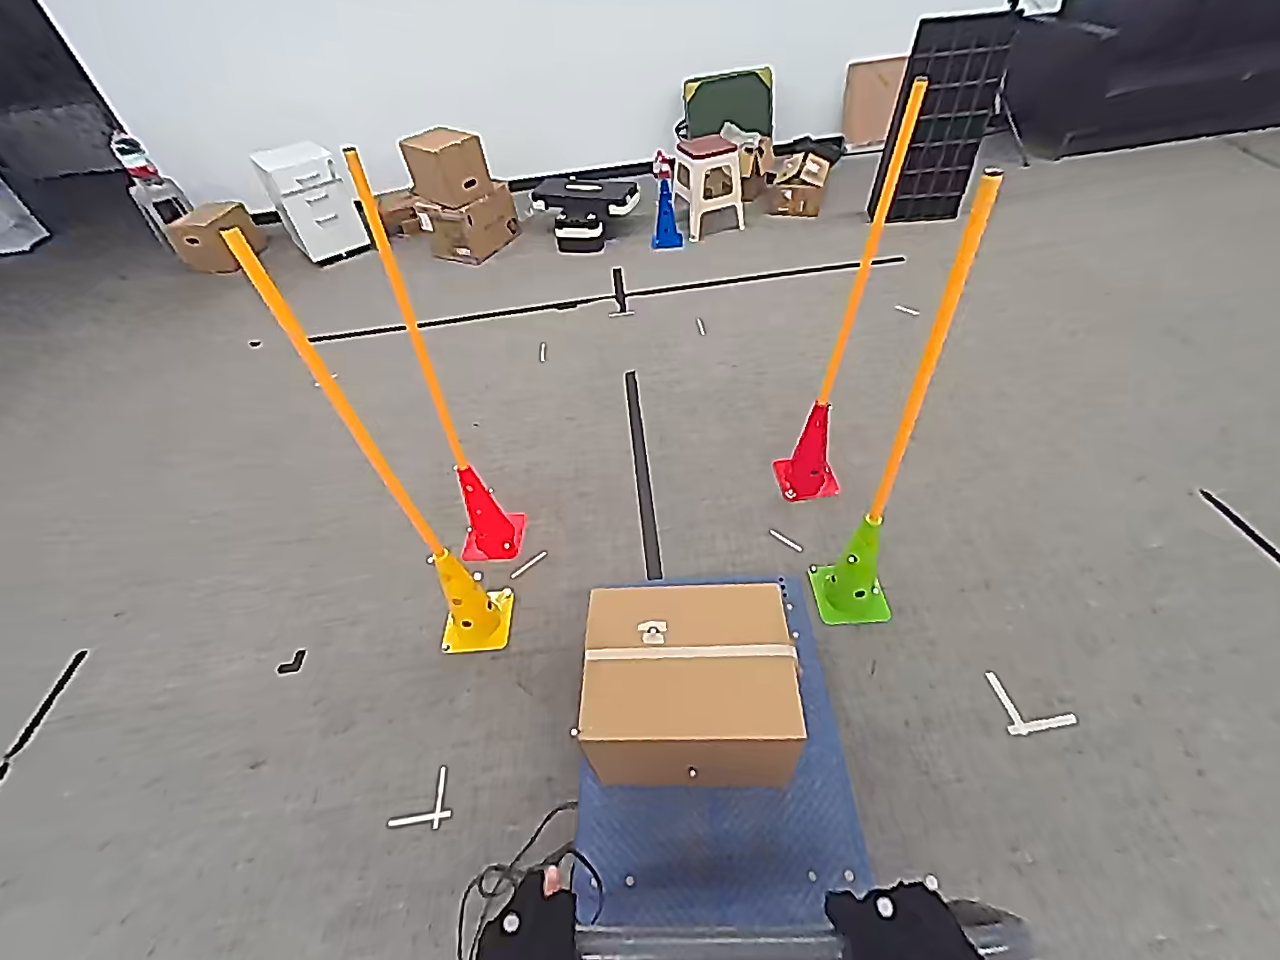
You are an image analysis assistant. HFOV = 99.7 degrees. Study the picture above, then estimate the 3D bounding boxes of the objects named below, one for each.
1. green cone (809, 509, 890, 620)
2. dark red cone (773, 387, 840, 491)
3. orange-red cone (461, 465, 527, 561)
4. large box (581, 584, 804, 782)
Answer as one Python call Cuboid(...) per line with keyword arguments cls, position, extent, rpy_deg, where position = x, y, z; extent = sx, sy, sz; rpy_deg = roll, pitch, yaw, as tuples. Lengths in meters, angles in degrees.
Cuboid(cls="green cone", position=(0.618, 0.215, 1.513), extent=(0.202, 0.368, 0.200), rpy_deg=(-4, 47, 2))
Cuboid(cls="dark red cone", position=(0.587, -0.147, 1.835), extent=(0.201, 0.394, 0.202), rpy_deg=(-7, 47, -1))
Cuboid(cls="orange-red cone", position=(-0.522, 0.086, 1.788), extent=(0.198, 0.360, 0.199), rpy_deg=(-2, 45, 4))
Cuboid(cls="large box", position=(0.108, 0.445, 1.166), extent=(0.408, 0.320, 0.320), rpy_deg=(-4, 47, 5))
